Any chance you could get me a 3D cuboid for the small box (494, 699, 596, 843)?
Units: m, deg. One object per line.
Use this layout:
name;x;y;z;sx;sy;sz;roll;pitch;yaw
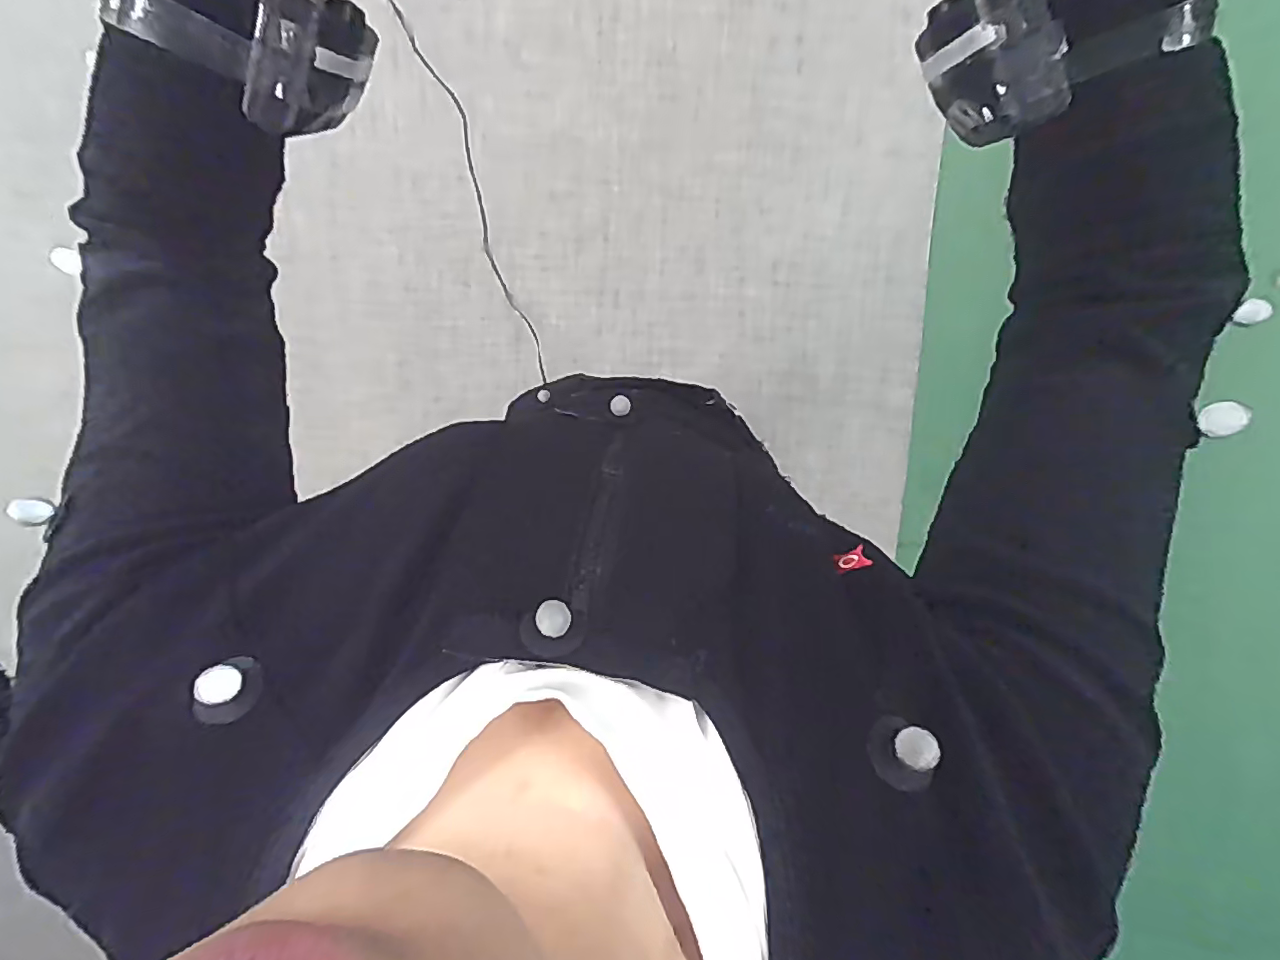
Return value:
small box;-0.186;0.562;1.064;0.168;0.176;0.179;9;102;5
